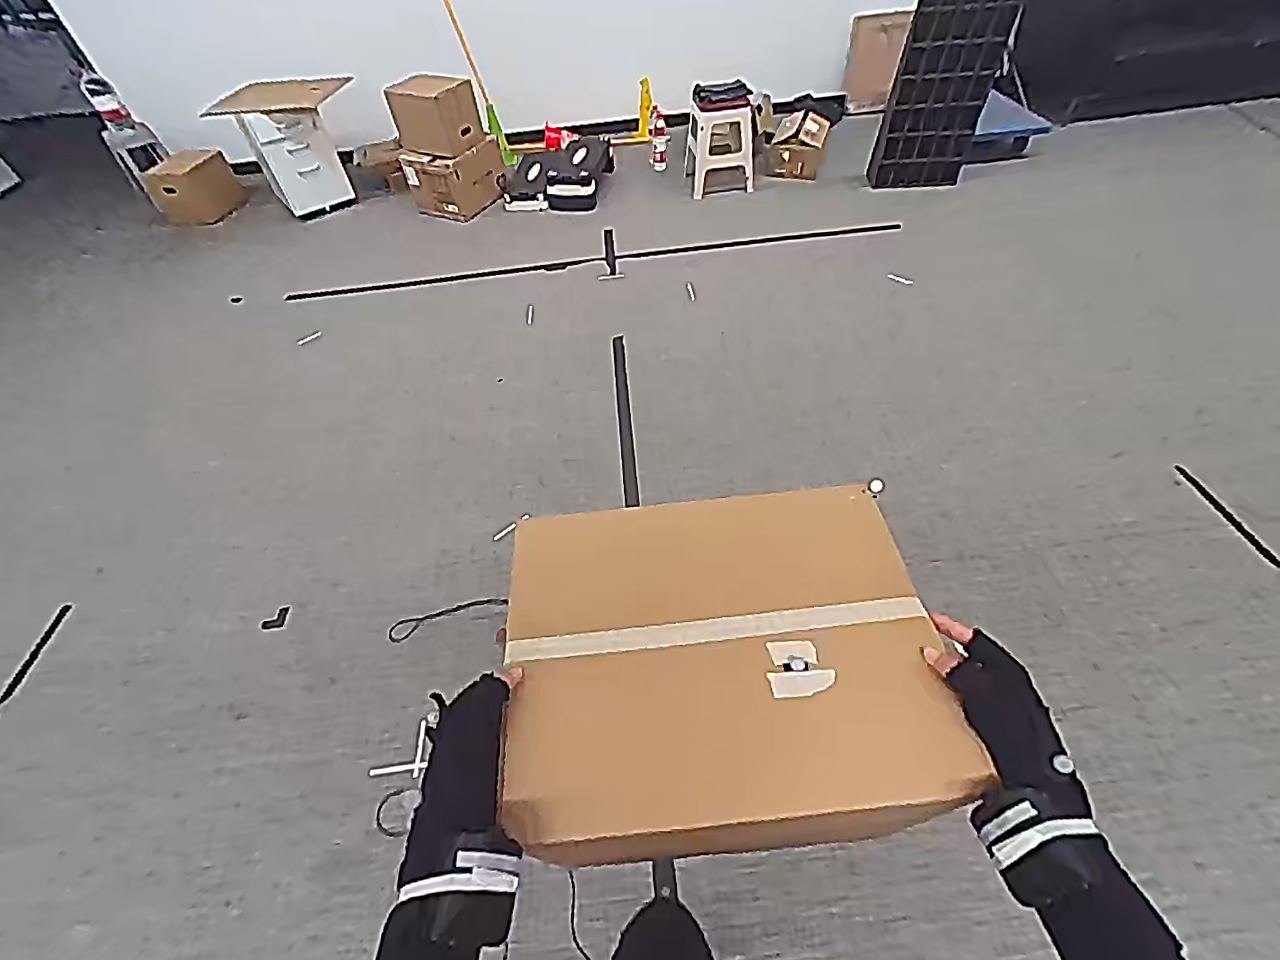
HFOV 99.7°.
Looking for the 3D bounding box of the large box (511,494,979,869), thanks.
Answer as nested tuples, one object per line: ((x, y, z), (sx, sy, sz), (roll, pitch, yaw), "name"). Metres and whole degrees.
((0.081, 0.249, 0.653), (0.408, 0.320, 0.320), (-6, 52, -1), "large box")
